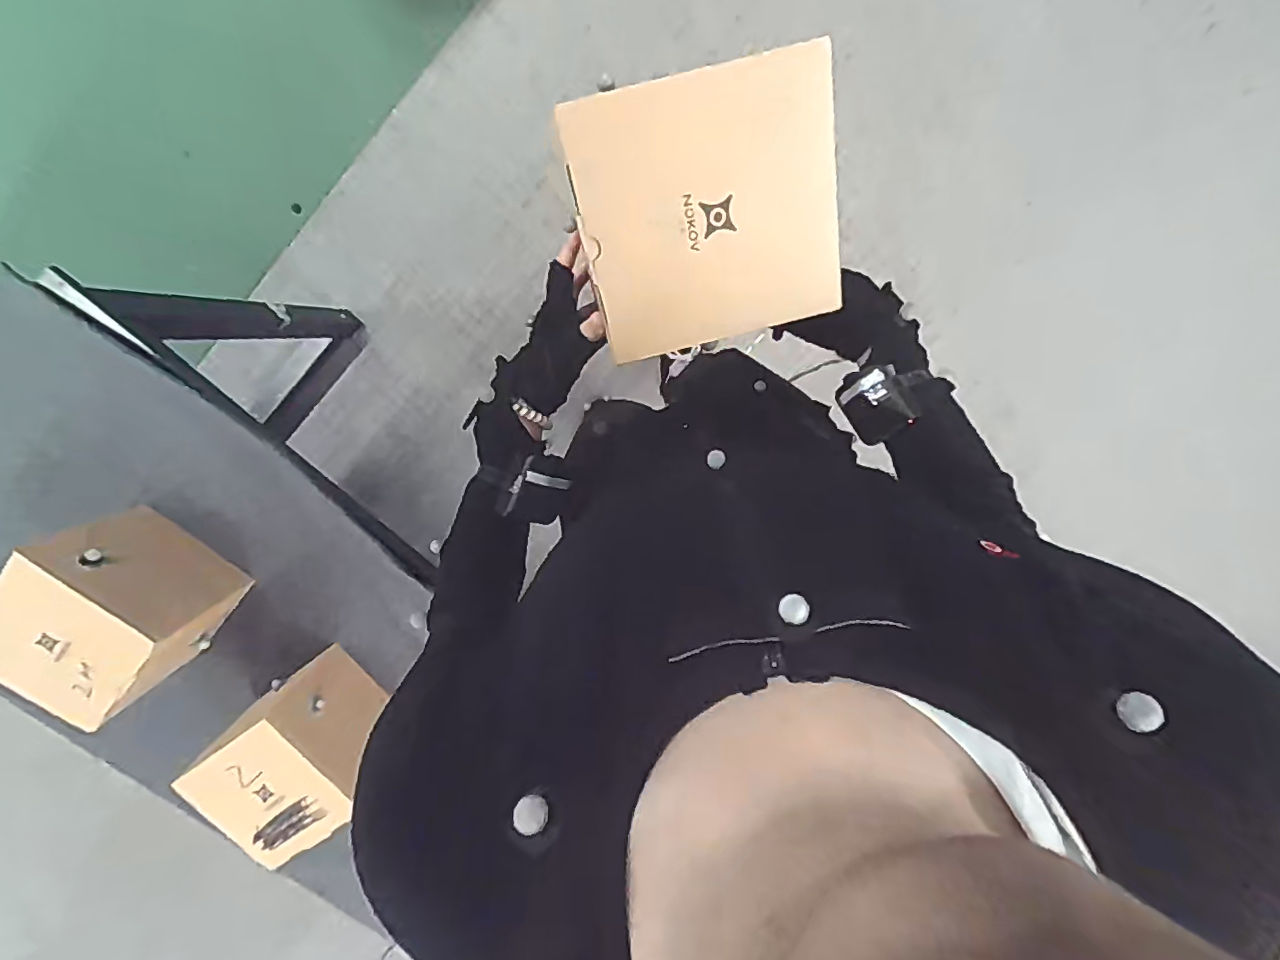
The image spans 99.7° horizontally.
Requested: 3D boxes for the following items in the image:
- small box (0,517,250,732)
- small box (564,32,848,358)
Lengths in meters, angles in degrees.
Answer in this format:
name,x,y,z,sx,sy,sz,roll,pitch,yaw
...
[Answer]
name,x,y,z,sx,sy,sz,roll,pitch,yaw
small box,-0.661,0.166,0.686,0.179,0.176,0.168,41,101,-11
small box,0.044,-0.217,0.429,0.179,0.176,0.168,-14,119,1
